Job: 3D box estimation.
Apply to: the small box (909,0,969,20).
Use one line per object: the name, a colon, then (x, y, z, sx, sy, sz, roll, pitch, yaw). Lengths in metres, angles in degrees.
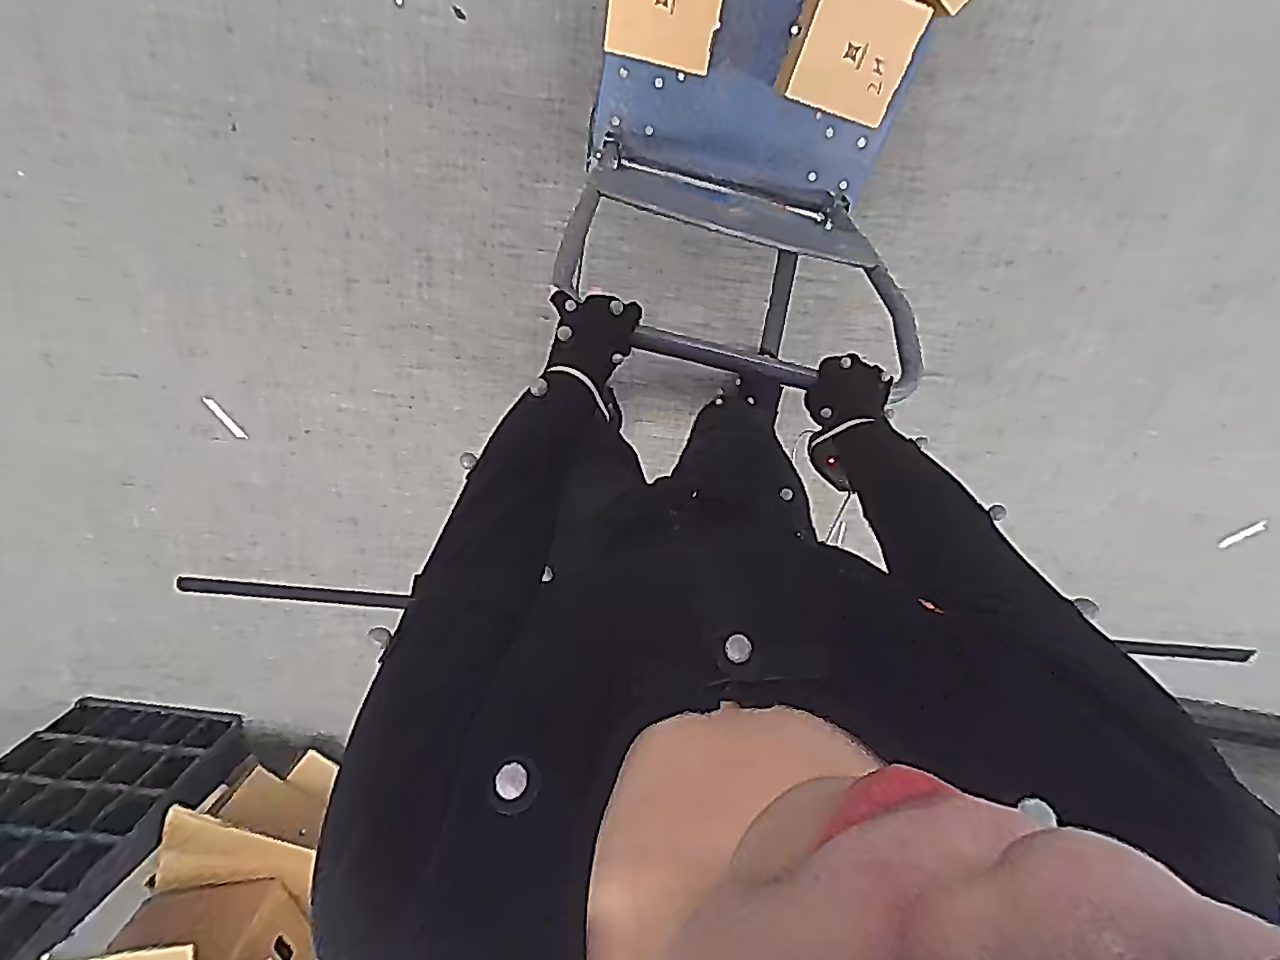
small box: (0.476, -0.852, 0.821, 0.168, 0.176, 0.179, 33, 125, -20)

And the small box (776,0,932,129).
small box: (0.351, -0.733, 0.930, 0.179, 0.176, 0.168, 15, 129, -7)

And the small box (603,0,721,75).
small box: (0.042, -0.799, 0.903, 0.179, 0.176, 0.168, 9, 129, -5)
